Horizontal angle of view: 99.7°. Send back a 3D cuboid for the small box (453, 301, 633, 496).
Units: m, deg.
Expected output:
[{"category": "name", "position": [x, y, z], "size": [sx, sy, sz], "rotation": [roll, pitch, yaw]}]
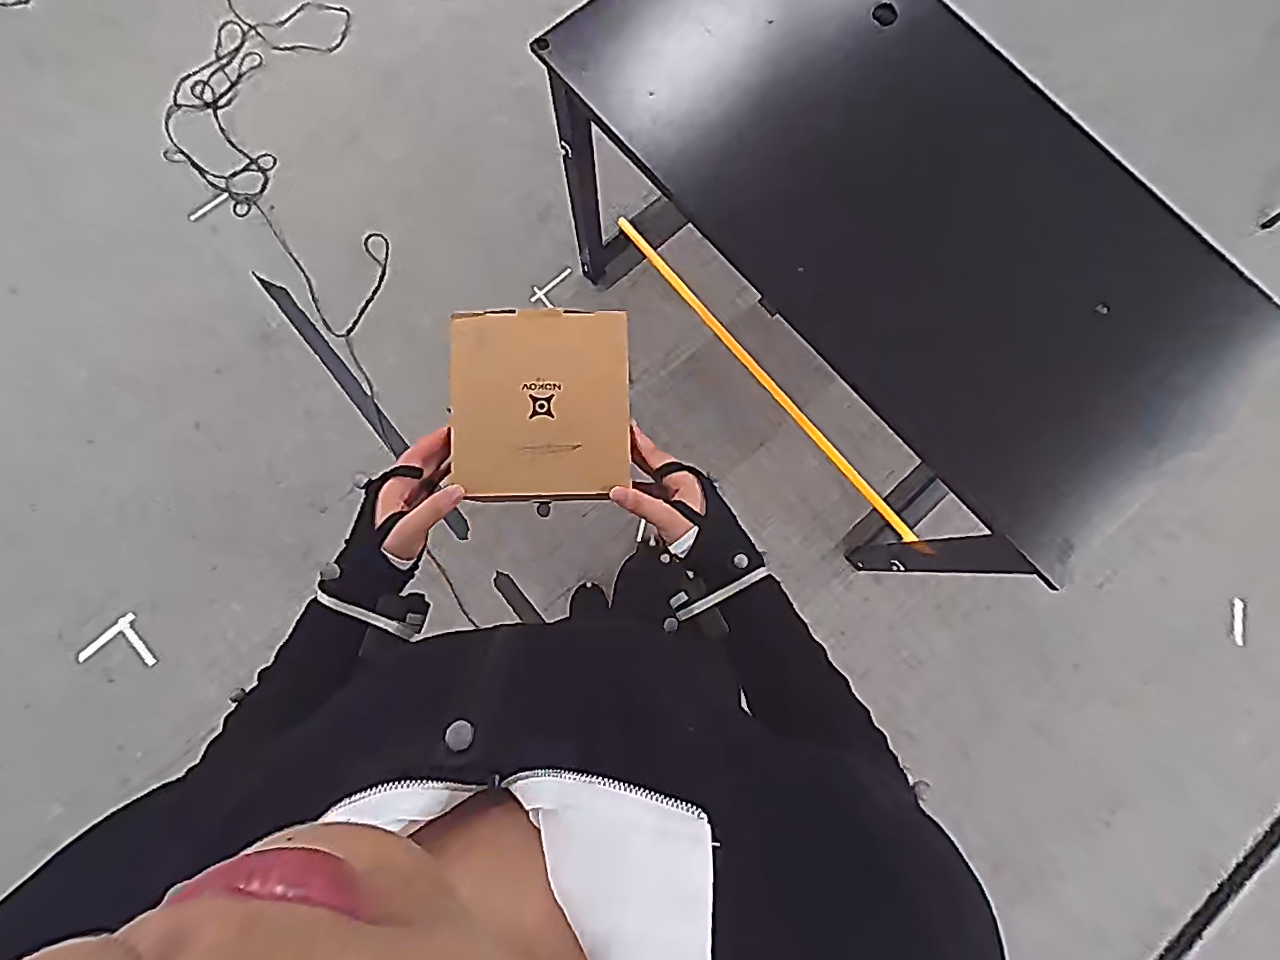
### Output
[{"category": "small box", "position": [-0.096, -0.075, 0.580], "size": [0.168, 0.176, 0.179], "rotation": [-1, 86, -4]}]
